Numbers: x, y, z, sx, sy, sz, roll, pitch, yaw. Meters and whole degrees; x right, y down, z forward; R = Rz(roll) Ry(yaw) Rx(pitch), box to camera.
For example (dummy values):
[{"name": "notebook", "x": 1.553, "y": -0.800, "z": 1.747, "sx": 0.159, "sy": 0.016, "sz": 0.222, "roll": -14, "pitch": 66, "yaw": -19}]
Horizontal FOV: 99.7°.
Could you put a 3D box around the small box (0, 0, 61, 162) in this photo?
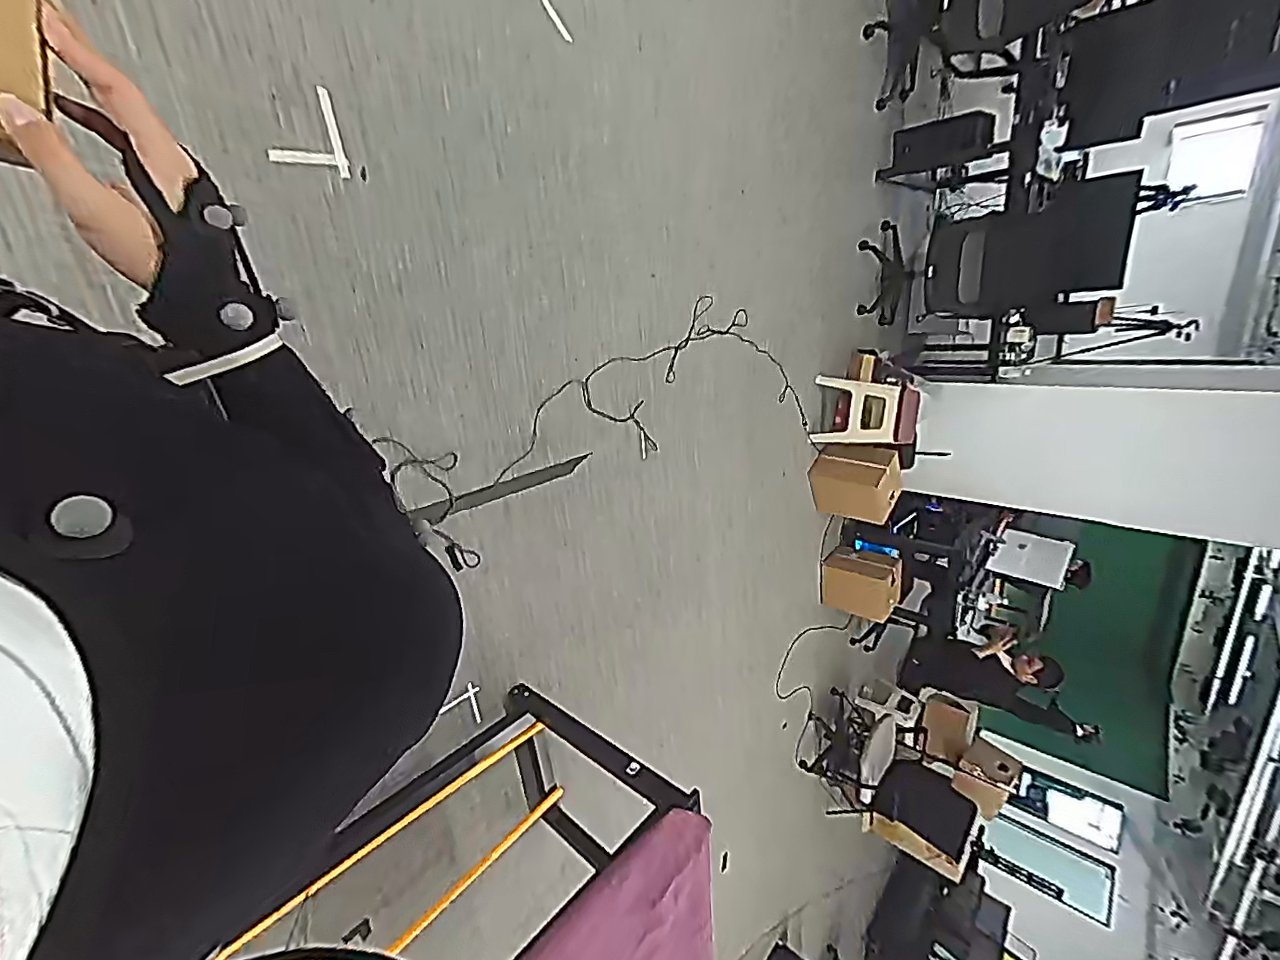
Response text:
[{"name": "small box", "x": -0.393, "y": -0.276, "z": 0.250, "sx": 0.168, "sy": 0.176, "sz": 0.179, "roll": -2, "pitch": 109, "yaw": -45}]
